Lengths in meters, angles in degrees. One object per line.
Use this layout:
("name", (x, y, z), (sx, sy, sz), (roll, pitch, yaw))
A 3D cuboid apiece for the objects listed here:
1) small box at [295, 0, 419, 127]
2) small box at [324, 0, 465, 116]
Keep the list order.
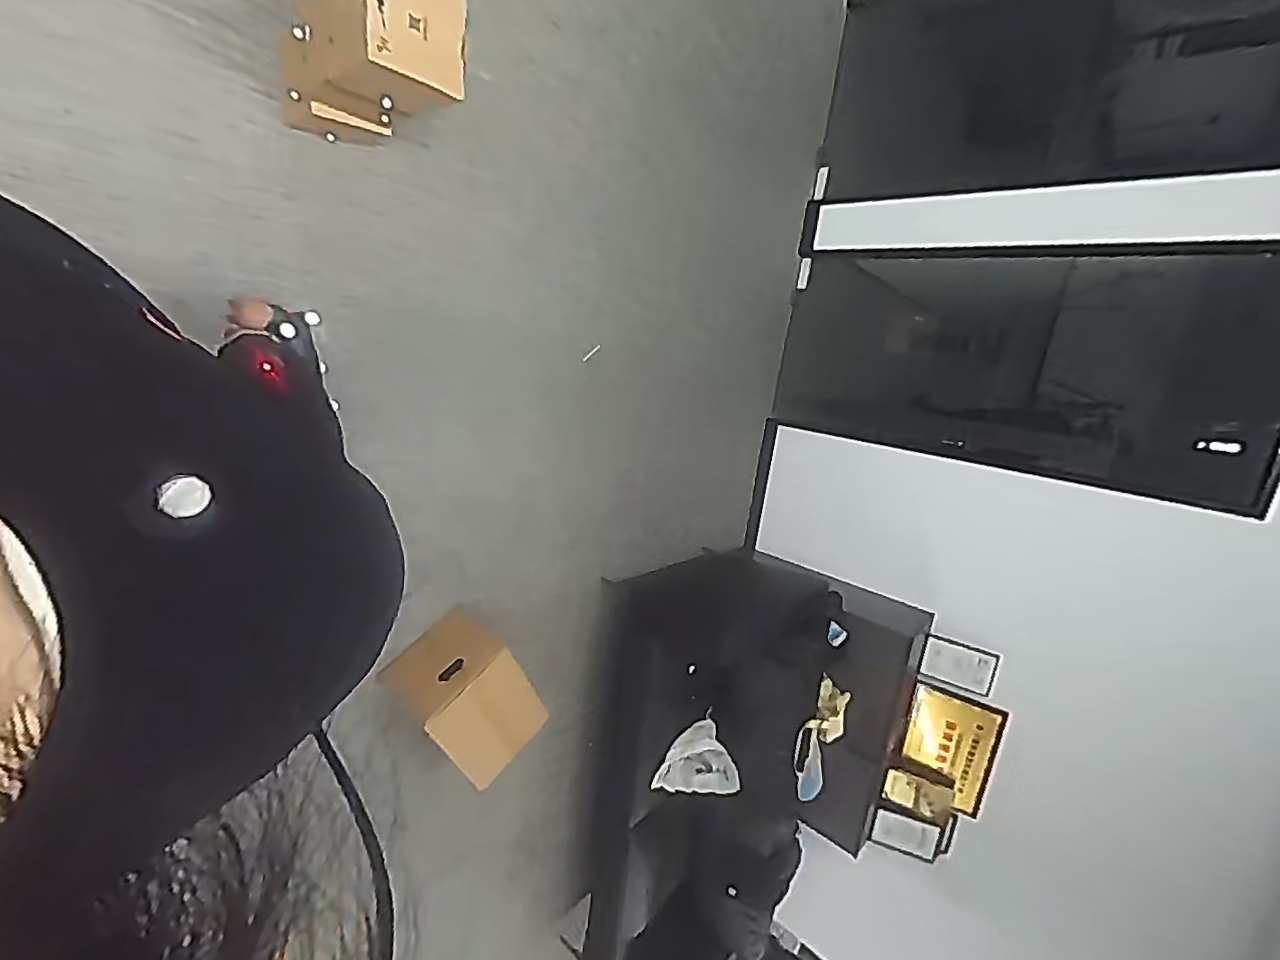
("small box", (-0.558, -0.829, 1.073), (0.179, 0.176, 0.168), (-9, 110, -48))
("small box", (-0.440, -0.781, 0.970), (0.179, 0.176, 0.168), (-10, 111, -49))
